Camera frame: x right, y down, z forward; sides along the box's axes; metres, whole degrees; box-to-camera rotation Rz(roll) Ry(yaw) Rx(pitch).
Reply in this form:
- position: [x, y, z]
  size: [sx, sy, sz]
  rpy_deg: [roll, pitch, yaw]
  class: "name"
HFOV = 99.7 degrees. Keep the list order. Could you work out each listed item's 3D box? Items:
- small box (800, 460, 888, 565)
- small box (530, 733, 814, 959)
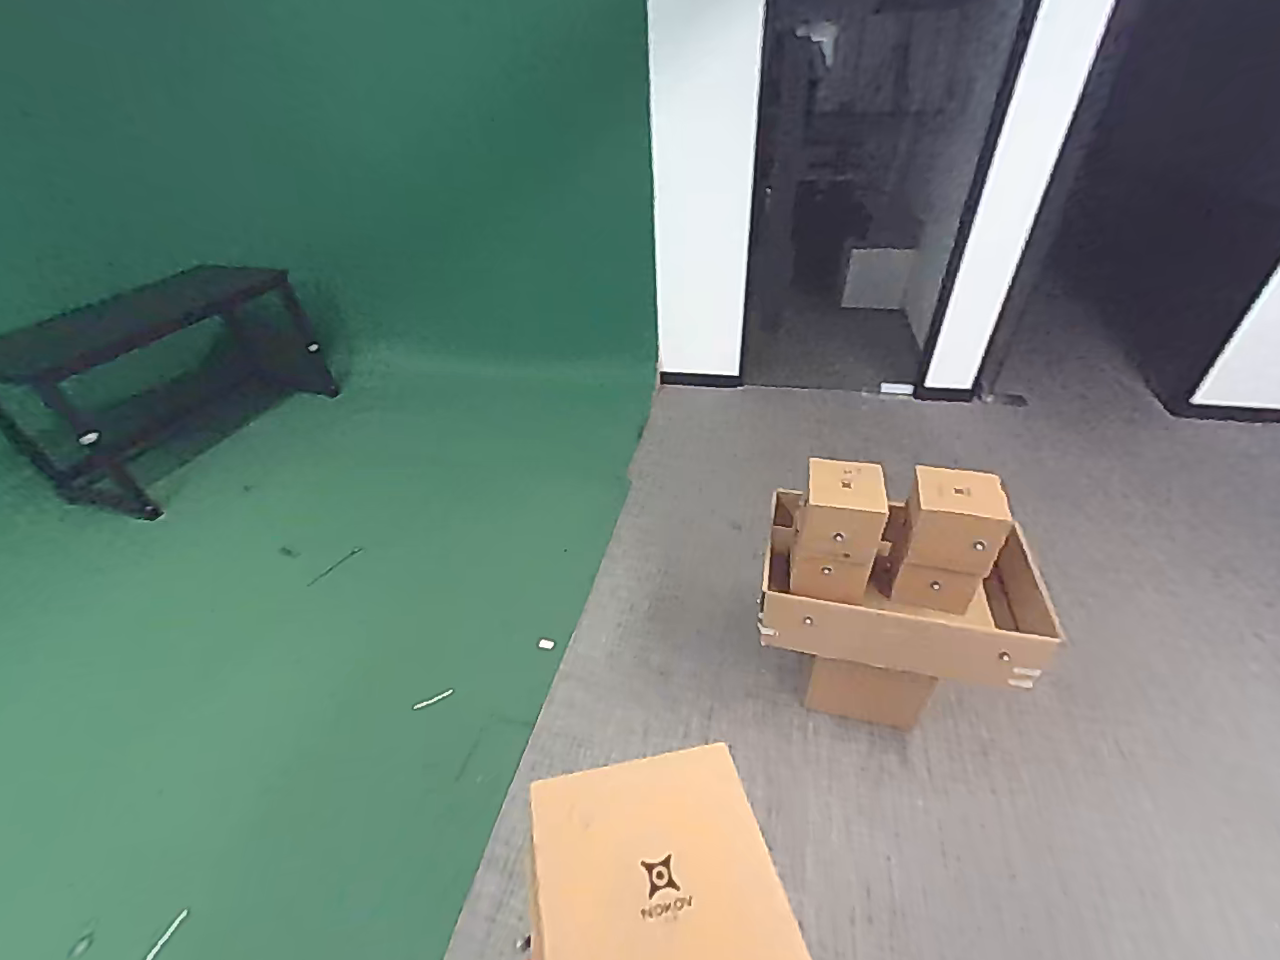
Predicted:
- position: [0.473, 0.077, 1.272]
  size: [0.168, 0.176, 0.179]
  rpy_deg: [6, 39, 13]
  class: "small box"
- position: [0.005, 0.329, 0.408]
  size: [0.168, 0.176, 0.179]
  rpy_deg: [-3, 35, -14]
  class: "small box"
